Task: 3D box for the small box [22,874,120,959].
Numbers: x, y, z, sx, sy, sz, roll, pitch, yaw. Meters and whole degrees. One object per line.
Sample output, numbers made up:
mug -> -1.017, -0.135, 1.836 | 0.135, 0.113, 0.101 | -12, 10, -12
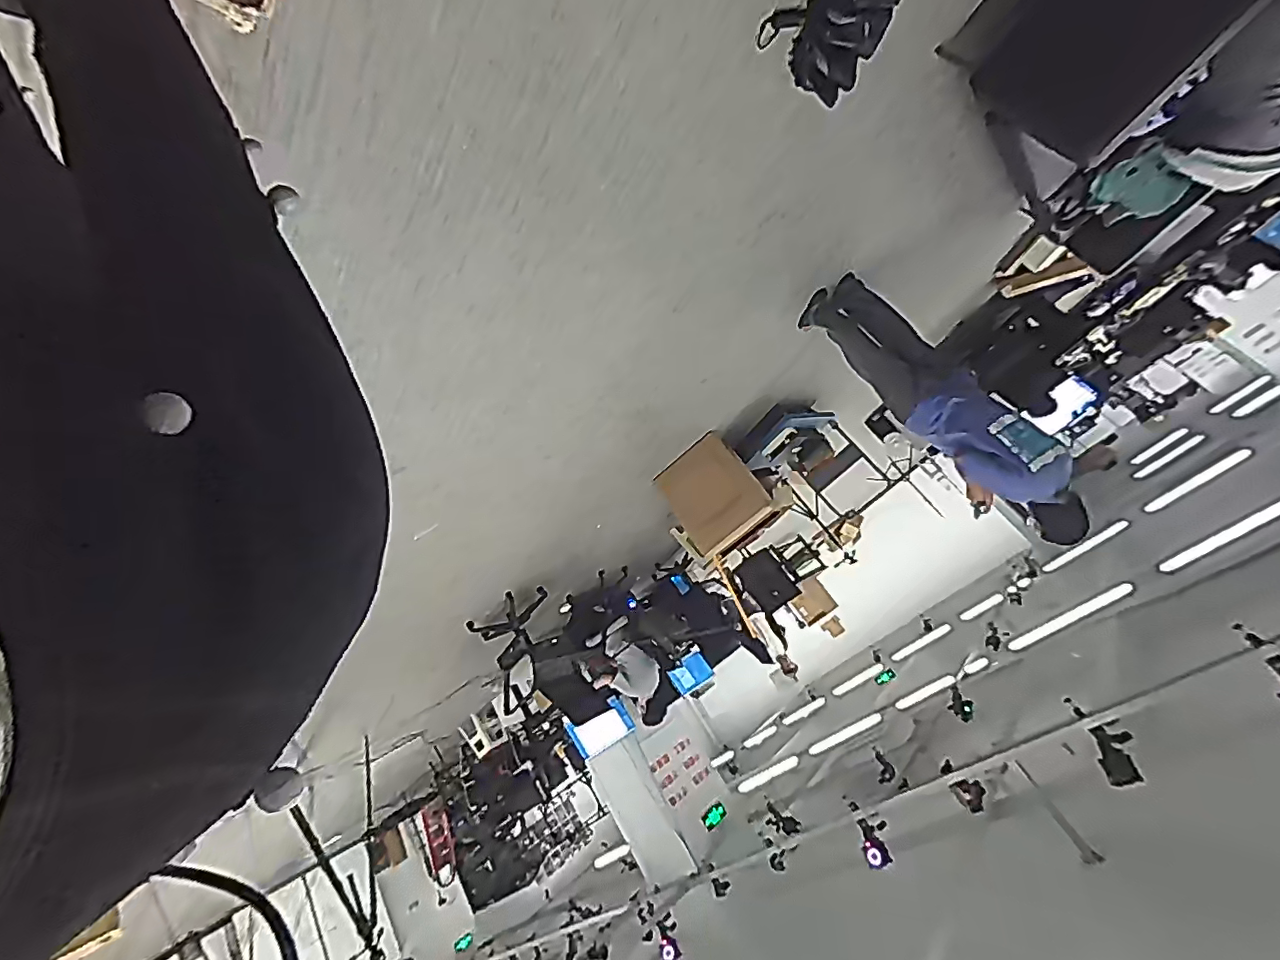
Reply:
small box -> -1.685, 1.319, 1.605 | 0.179, 0.176, 0.168 | -11, 147, -45
